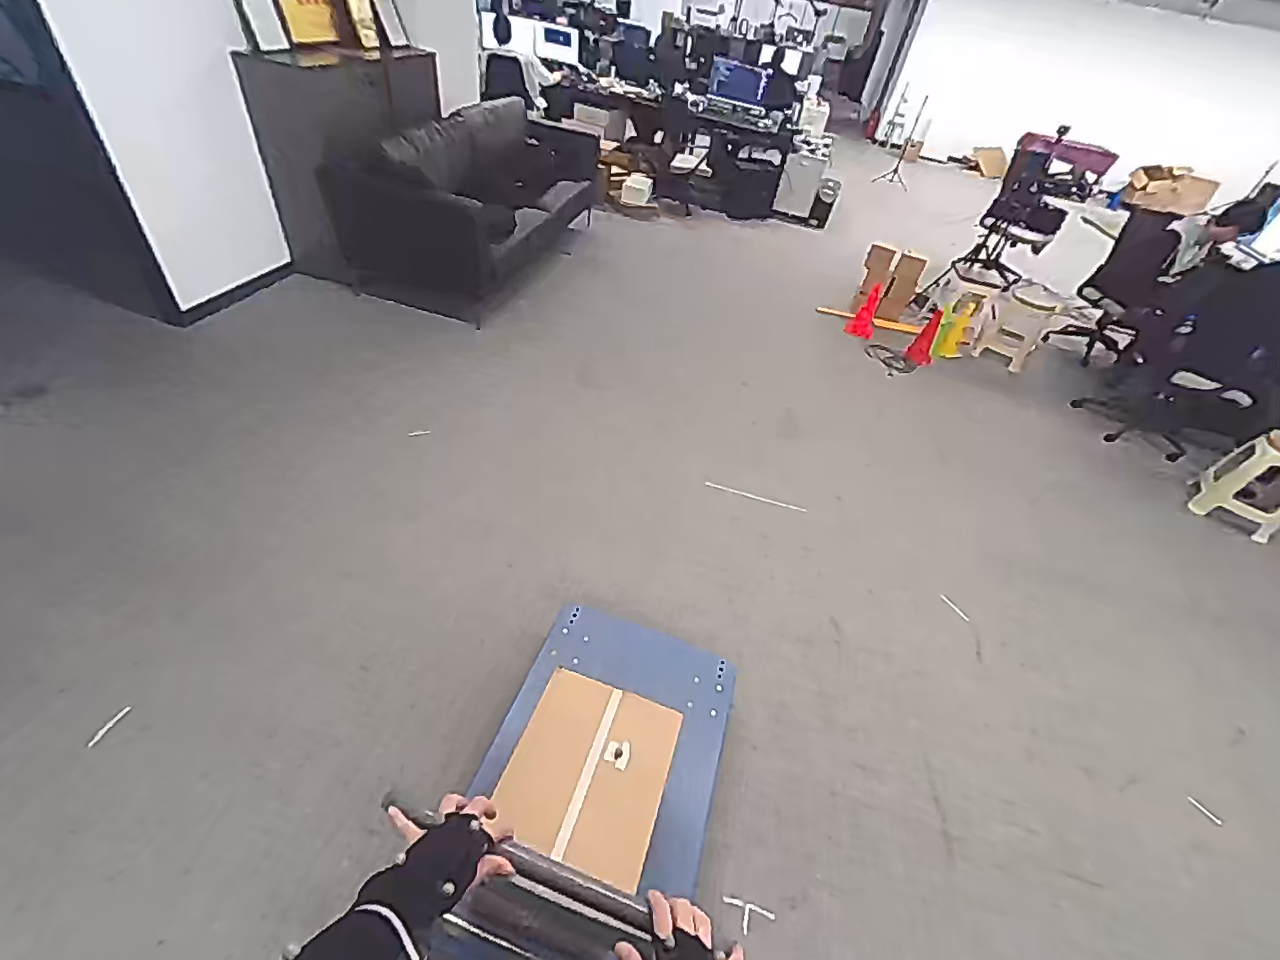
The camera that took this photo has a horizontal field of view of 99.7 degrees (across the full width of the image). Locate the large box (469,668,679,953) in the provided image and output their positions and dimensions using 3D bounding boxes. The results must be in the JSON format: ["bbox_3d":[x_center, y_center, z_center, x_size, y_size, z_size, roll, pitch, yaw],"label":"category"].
[{"bbox_3d":[-0.131,0.711,1.186,0.320,0.320,0.408,19,41,7],"label":"large box"}]
